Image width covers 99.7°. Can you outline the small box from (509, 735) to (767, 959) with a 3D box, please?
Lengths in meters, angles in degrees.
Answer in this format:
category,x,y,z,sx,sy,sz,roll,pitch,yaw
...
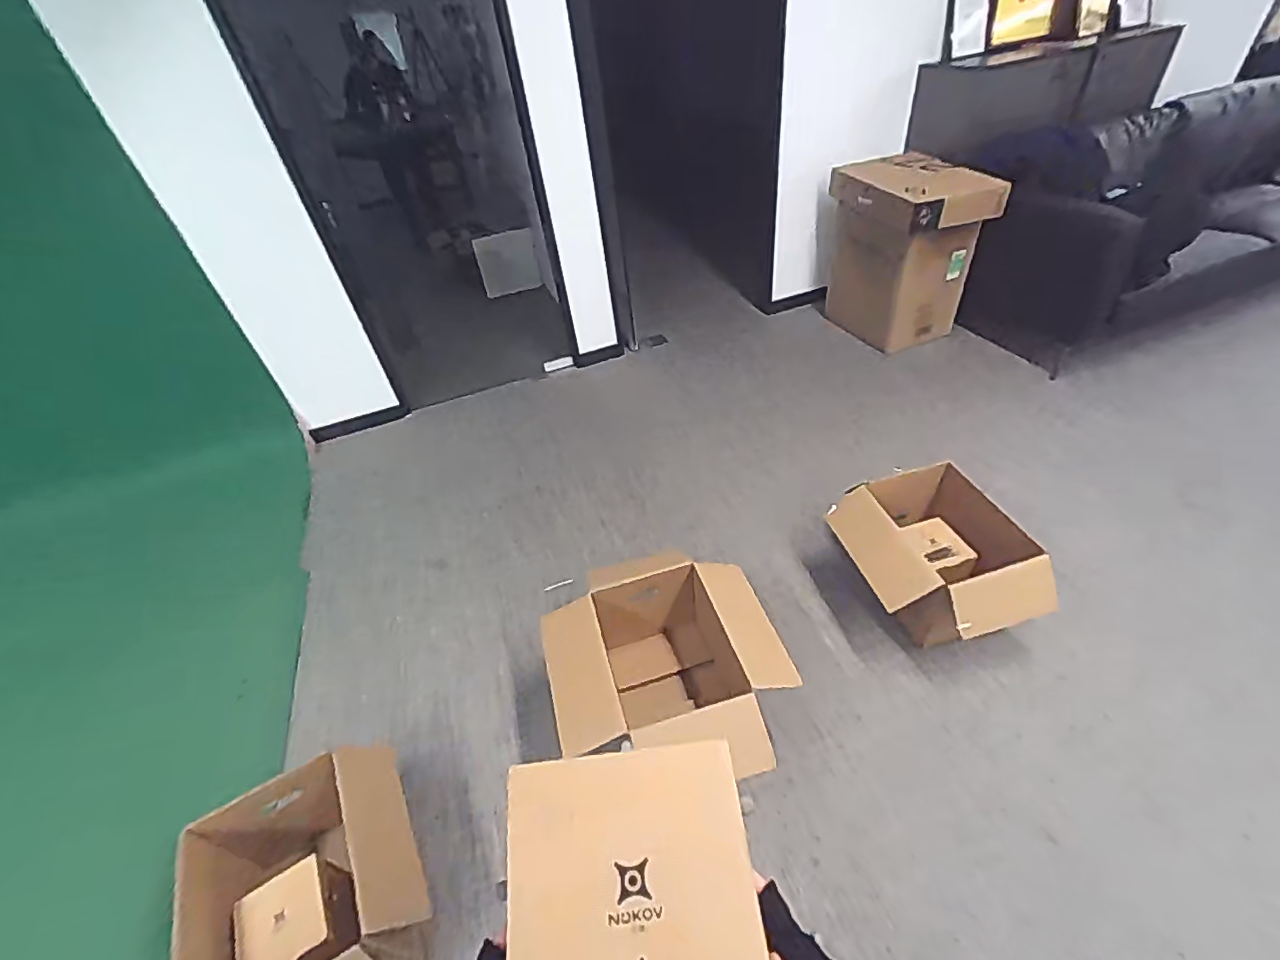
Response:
category,x,y,z,sx,sy,sz,roll,pitch,yaw
small box,-0.007,0.315,0.427,0.168,0.176,0.179,-5,59,-4
